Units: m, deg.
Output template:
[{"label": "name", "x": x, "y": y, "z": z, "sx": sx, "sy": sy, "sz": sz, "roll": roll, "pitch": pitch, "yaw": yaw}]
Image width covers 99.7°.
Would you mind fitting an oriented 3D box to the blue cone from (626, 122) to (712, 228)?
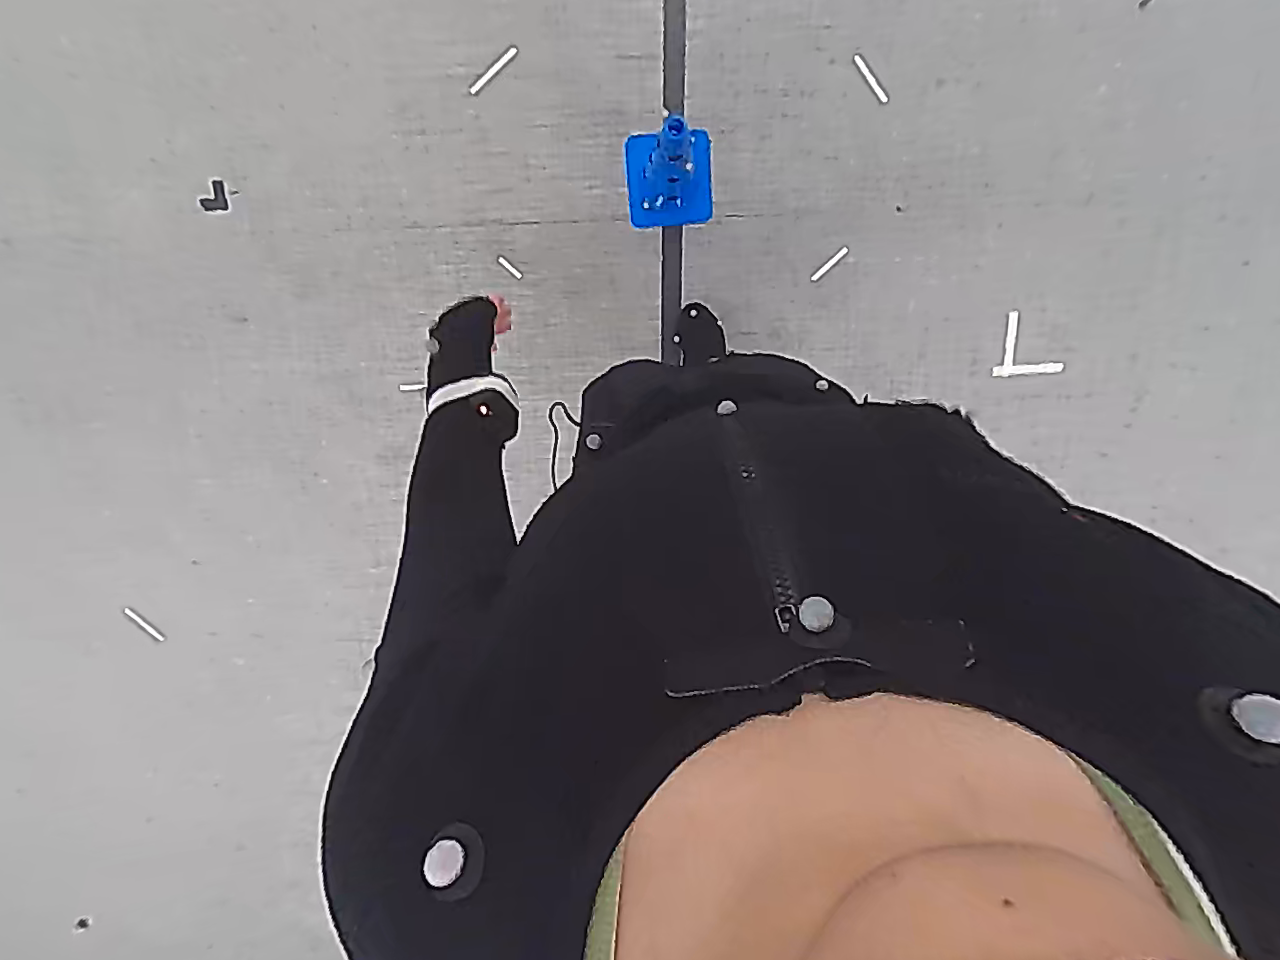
[{"label": "blue cone", "x": 0.068, "y": -0.656, "z": 1.108, "sx": 0.192, "sy": 0.380, "sz": 0.193, "roll": -6, "pitch": 107, "yaw": 3}]
